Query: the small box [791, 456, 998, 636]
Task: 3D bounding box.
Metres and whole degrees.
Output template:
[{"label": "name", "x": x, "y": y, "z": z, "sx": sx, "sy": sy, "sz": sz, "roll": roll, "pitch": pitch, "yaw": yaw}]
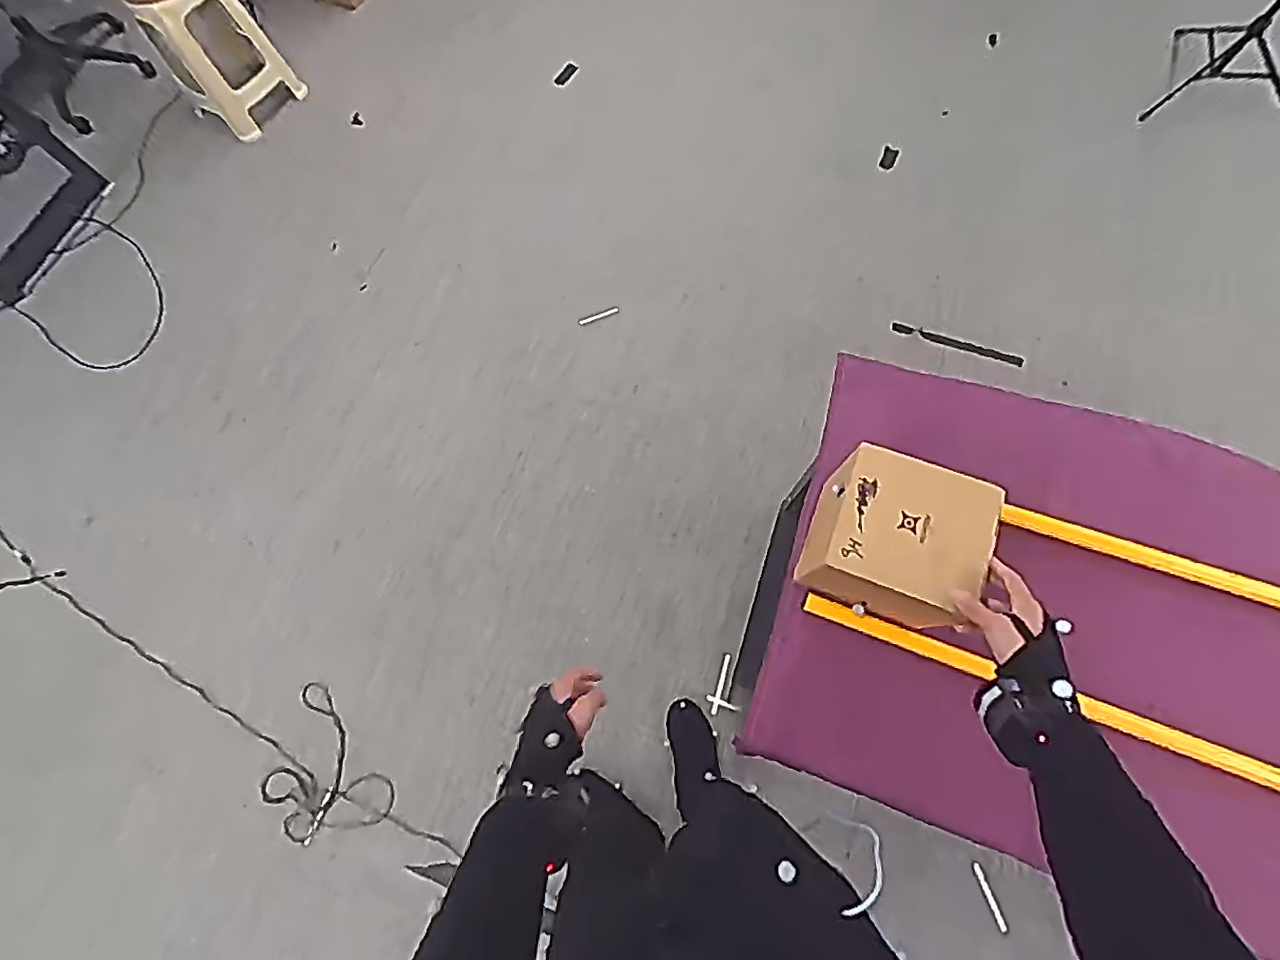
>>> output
[{"label": "small box", "x": 0.323, "y": 0.094, "z": 0.717, "sx": 0.179, "sy": 0.176, "sz": 0.168, "roll": 21, "pitch": 75, "yaw": 9}]
